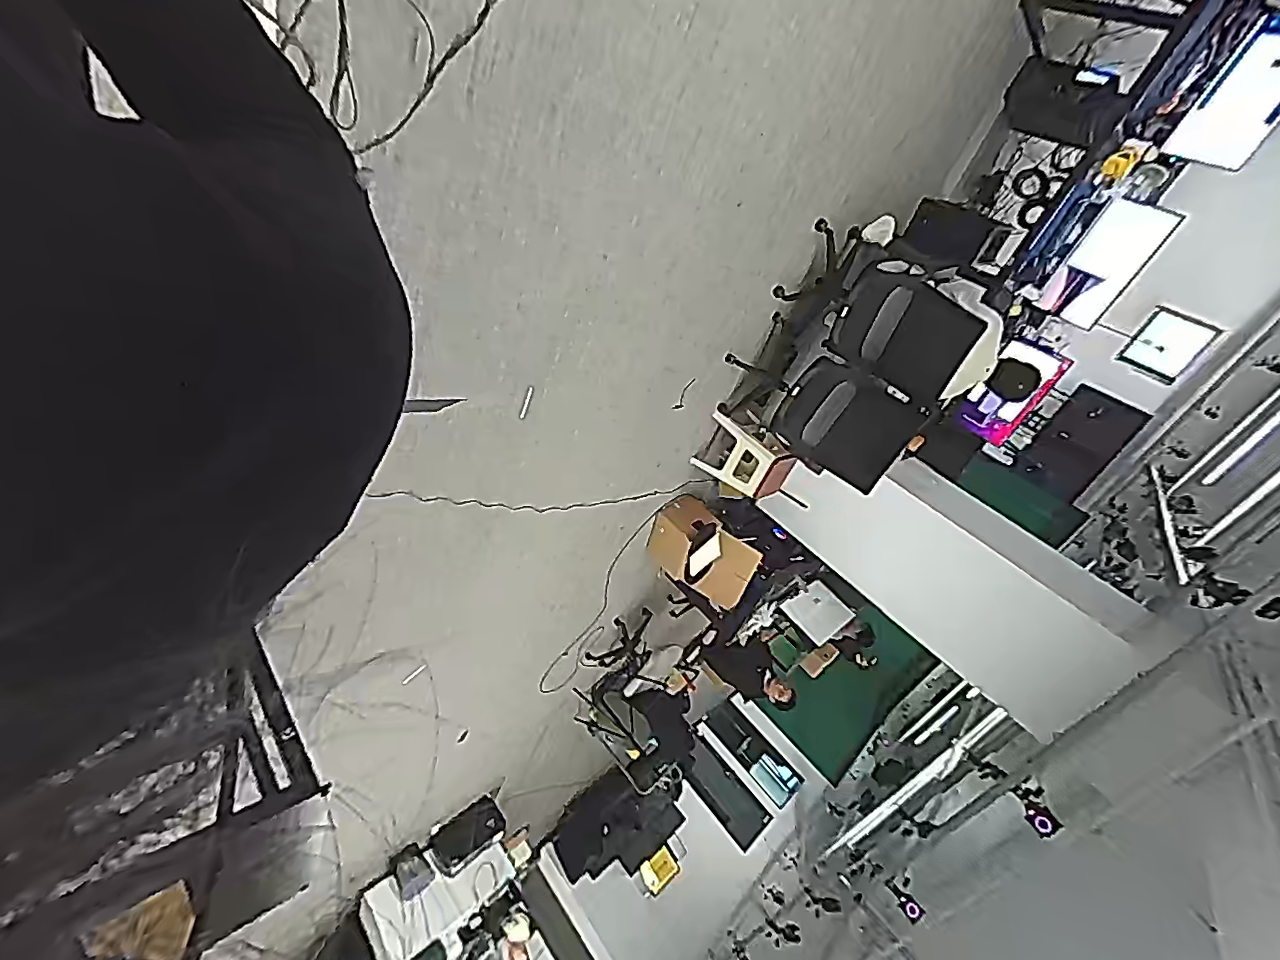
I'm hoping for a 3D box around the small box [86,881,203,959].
[{"bbox_3d":[-1.098,1.048,1.203,0.168,0.176,0.179,-12,137,-46],"label":"small box"}]
